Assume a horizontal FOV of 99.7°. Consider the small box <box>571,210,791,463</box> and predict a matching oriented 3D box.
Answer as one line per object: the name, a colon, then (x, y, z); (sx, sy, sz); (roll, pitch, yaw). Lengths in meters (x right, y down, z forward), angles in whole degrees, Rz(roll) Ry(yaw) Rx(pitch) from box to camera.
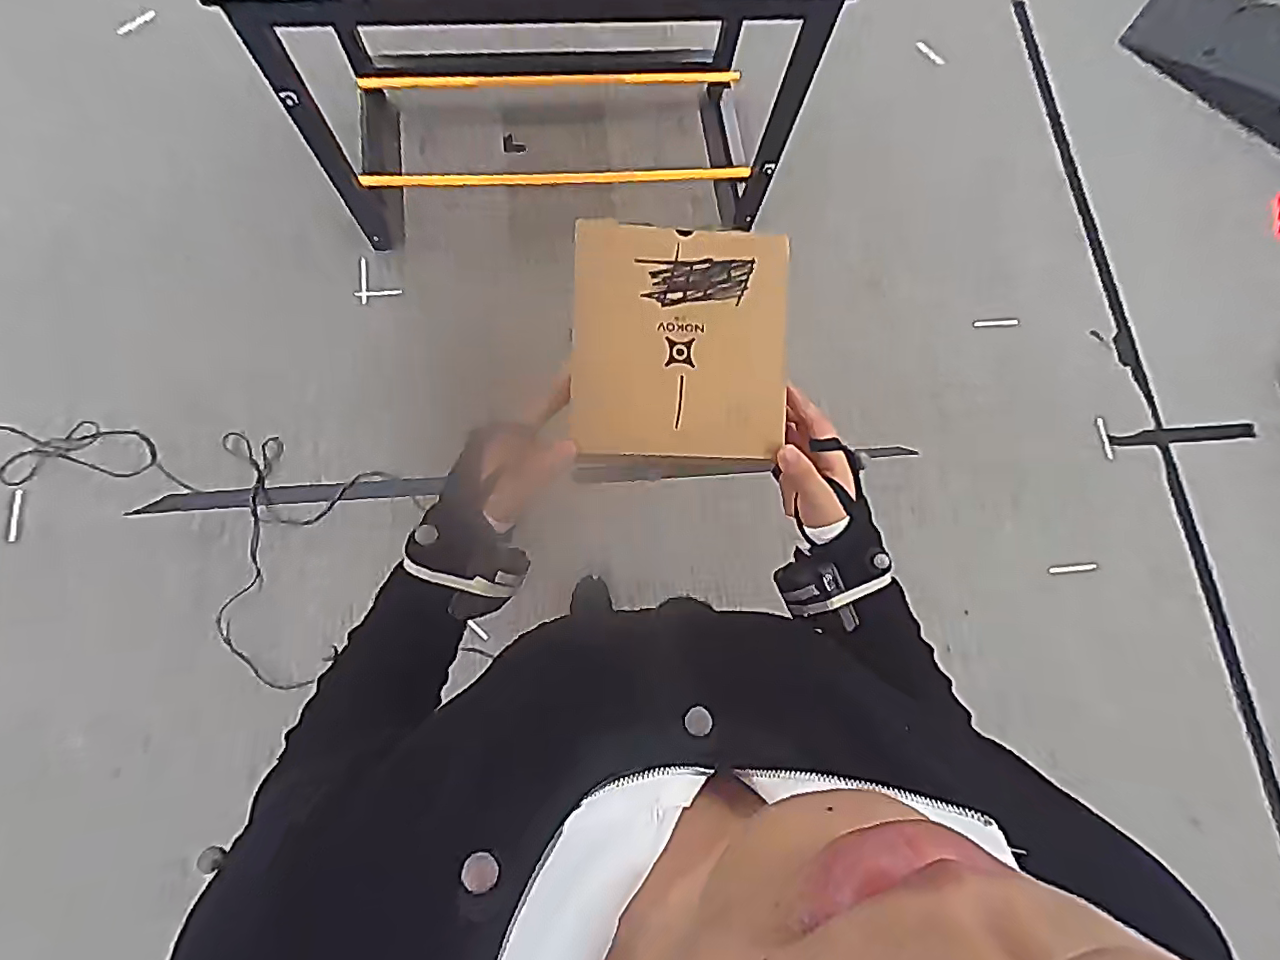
small box: (0.025, -0.109, 0.485); (0.168, 0.176, 0.179); (2, 89, -5)
